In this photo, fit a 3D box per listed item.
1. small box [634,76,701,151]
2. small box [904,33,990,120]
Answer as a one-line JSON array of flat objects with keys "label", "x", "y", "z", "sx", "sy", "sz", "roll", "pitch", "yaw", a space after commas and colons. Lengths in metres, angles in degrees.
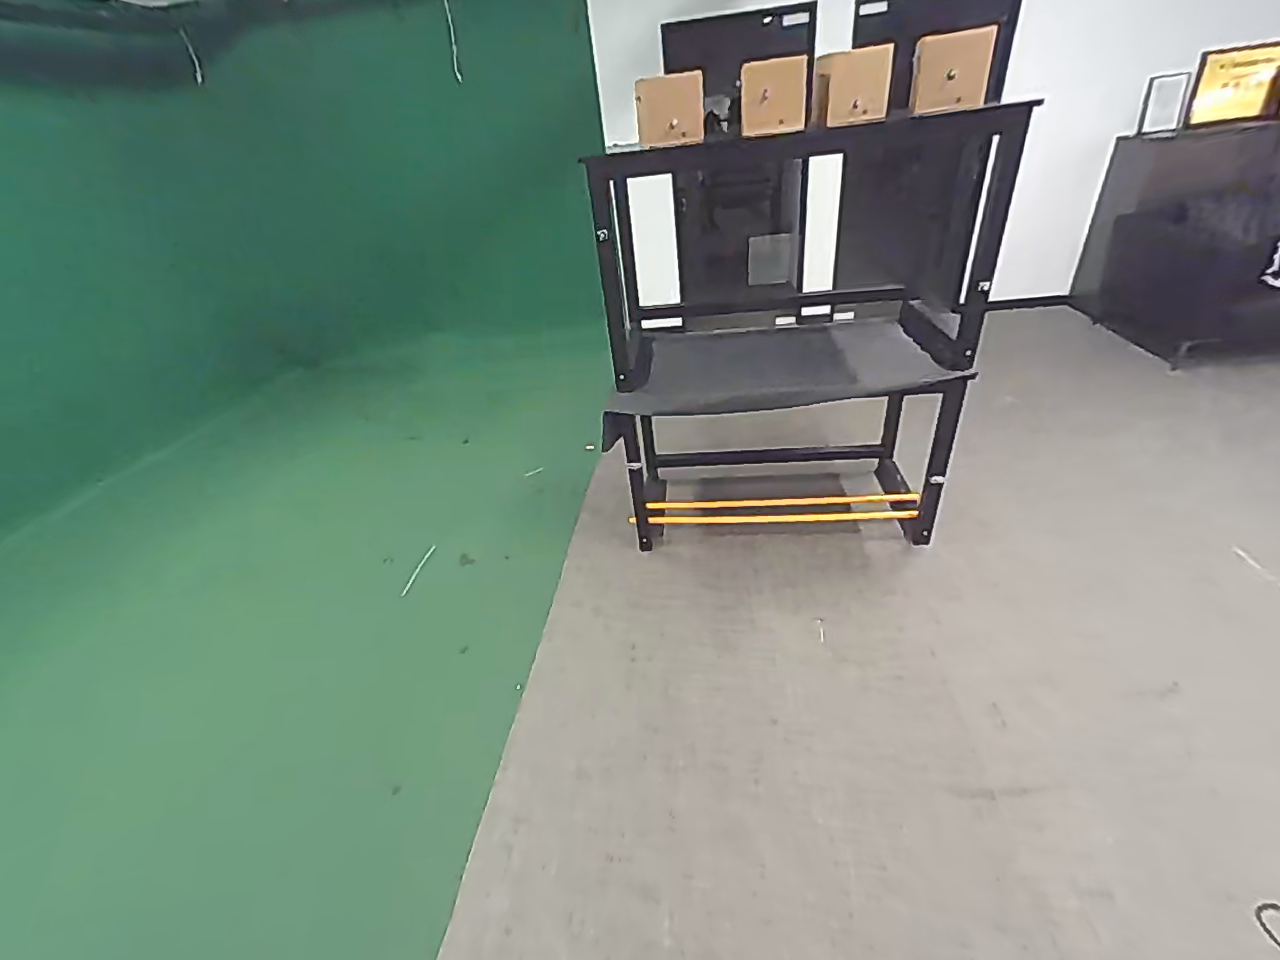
[{"label": "small box", "x": 0.080, "y": -1.084, "z": 1.608, "sx": 0.168, "sy": 0.176, "sz": 0.179, "roll": -11, "pitch": 34, "yaw": -5}, {"label": "small box", "x": 0.837, "y": -1.104, "z": 1.490, "sx": 0.168, "sy": 0.176, "sz": 0.179, "roll": 4, "pitch": 35, "yaw": 17}]
